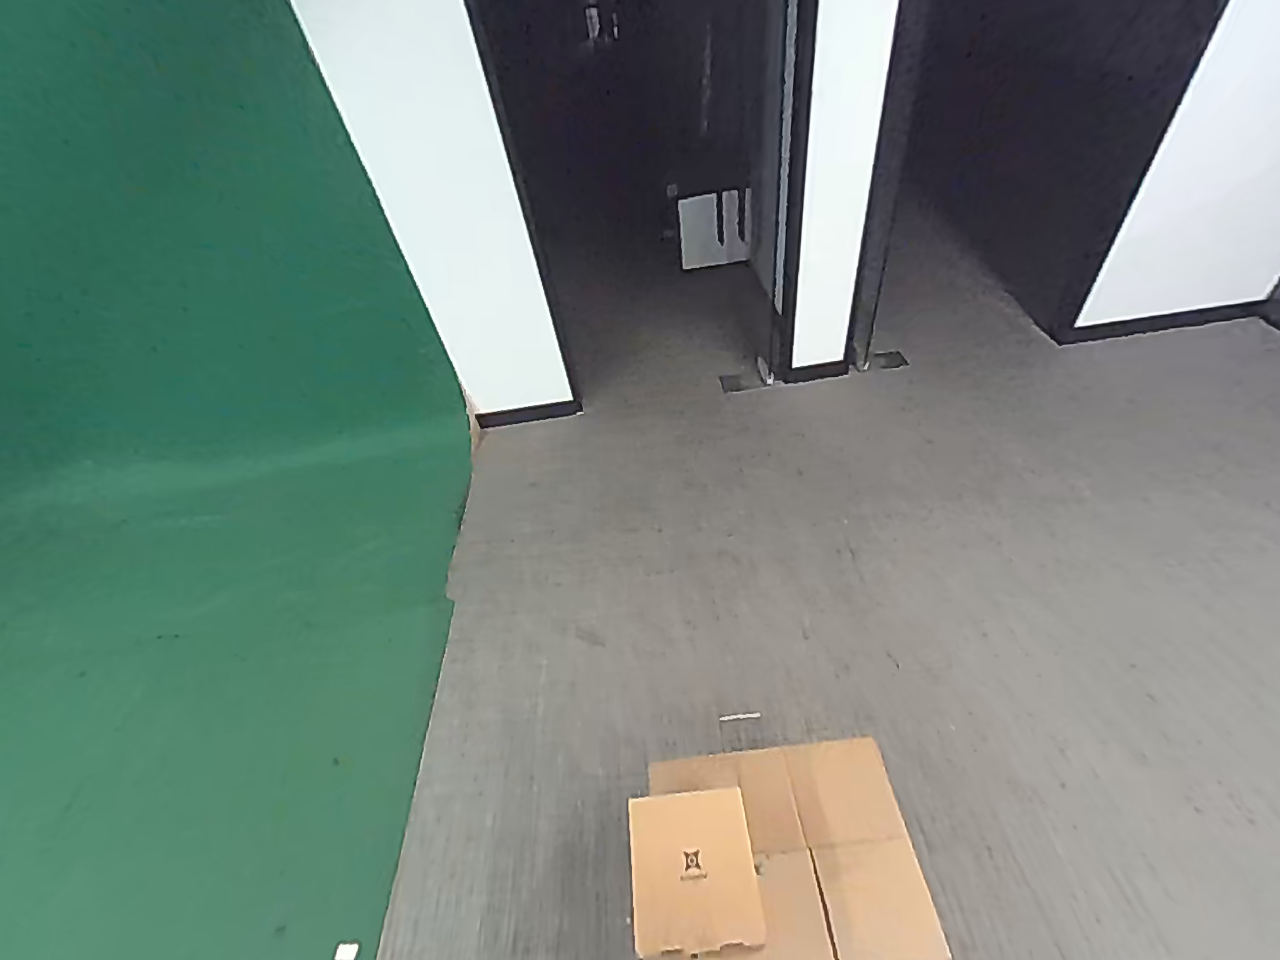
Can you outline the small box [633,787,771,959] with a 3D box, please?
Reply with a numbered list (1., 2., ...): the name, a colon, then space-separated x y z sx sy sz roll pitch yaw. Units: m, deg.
1. small box: 0.083 0.567 0.778 0.168 0.176 0.179 -8 47 2
